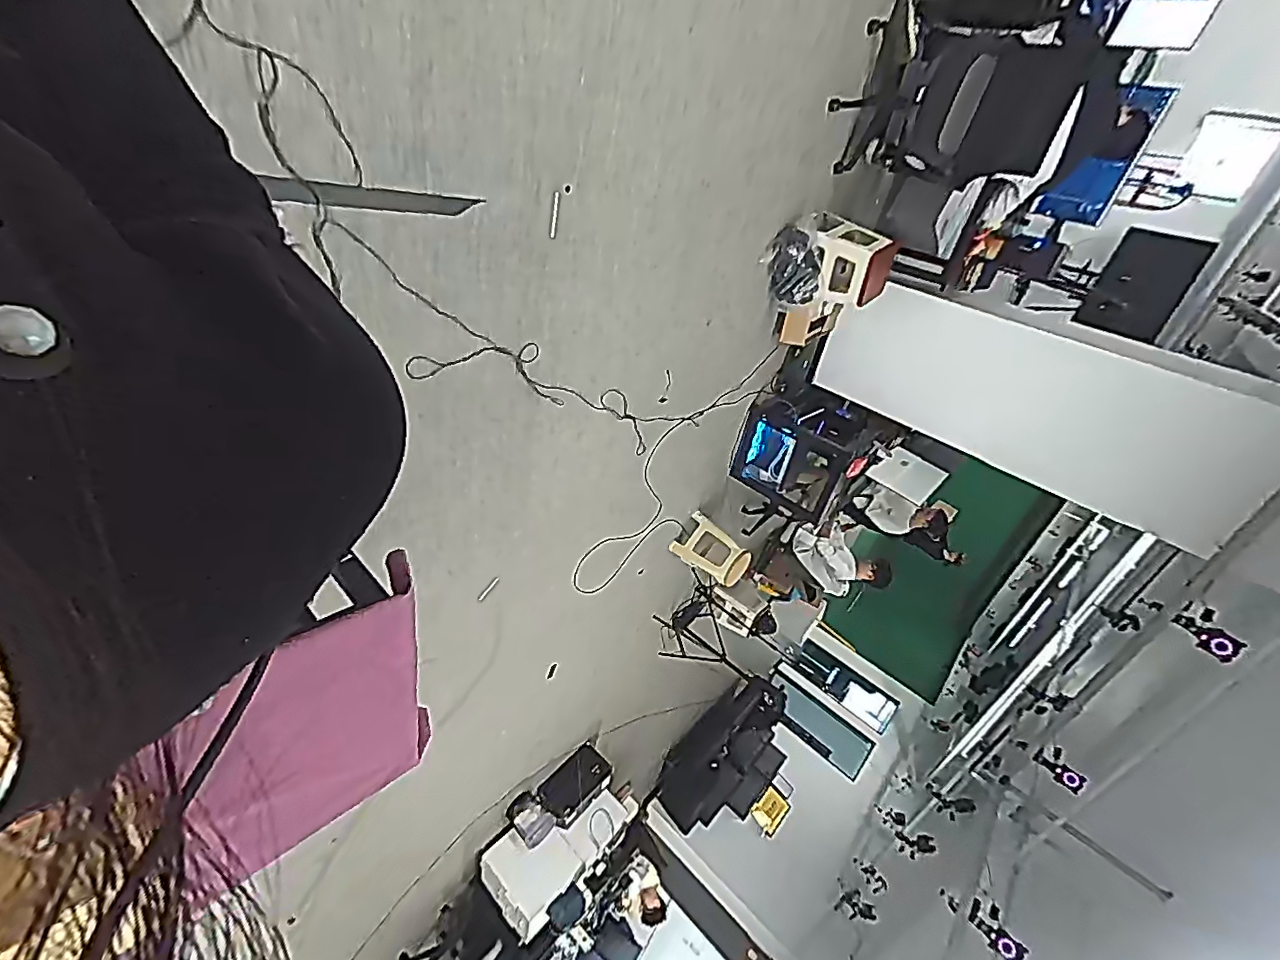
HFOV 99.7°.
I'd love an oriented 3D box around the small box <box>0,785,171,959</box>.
[{"bbox_3d":[-0.809,0.583,0.768,0.168,0.176,0.179,-22,137,-47],"label":"small box"}]
